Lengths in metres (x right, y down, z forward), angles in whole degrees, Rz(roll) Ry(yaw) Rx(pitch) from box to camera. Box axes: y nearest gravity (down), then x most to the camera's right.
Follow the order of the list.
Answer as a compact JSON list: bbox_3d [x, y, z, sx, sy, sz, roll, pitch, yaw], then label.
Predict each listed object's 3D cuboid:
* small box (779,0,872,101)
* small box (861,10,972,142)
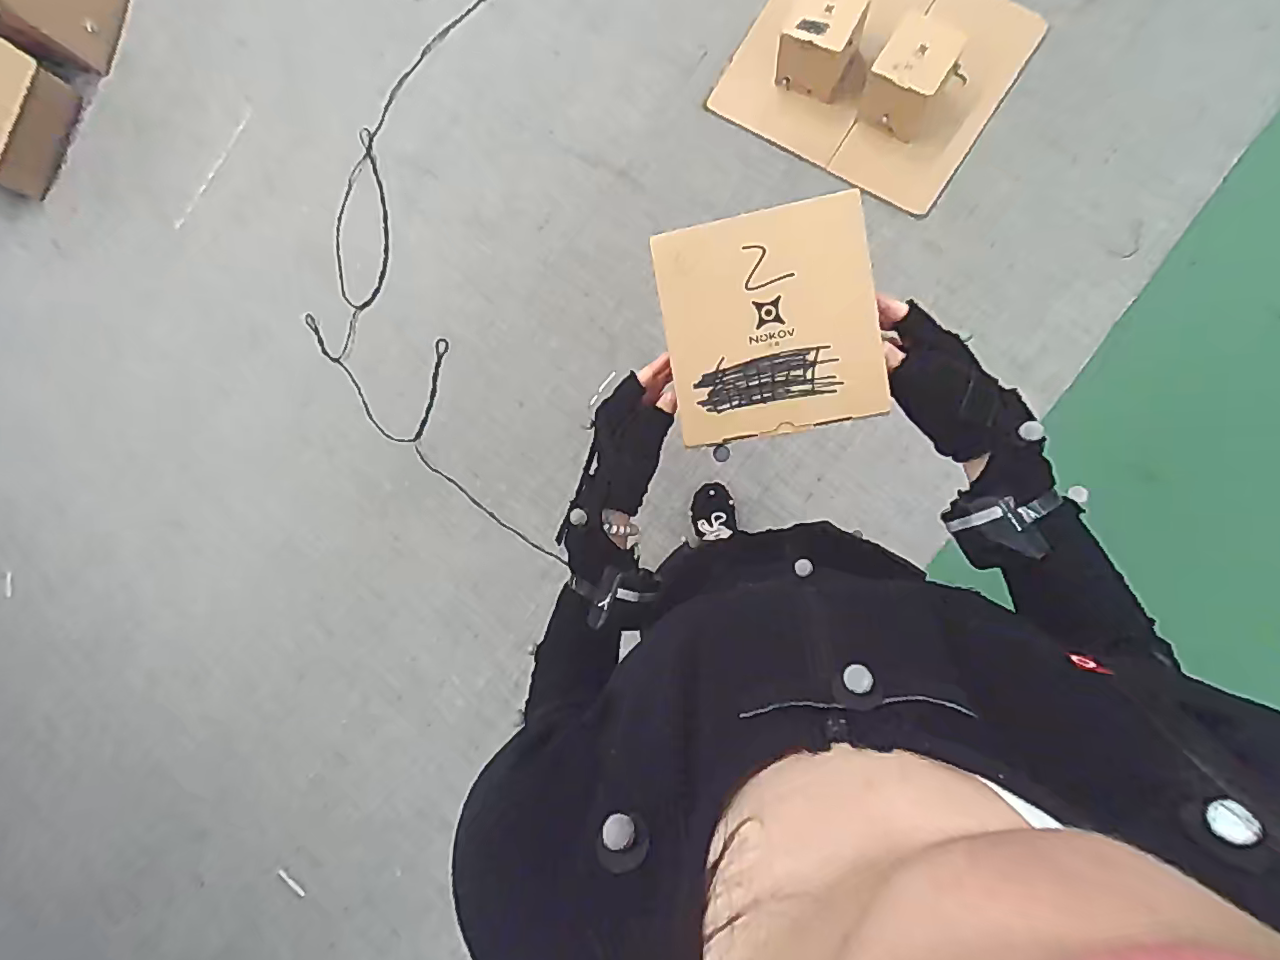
[{"bbox_3d":[0.478,-1.150,1.417,0.168,0.176,0.179,29,91,10],"label":"small box"},{"bbox_3d":[0.691,-1.021,1.379,0.168,0.176,0.179,33,93,10],"label":"small box"}]
